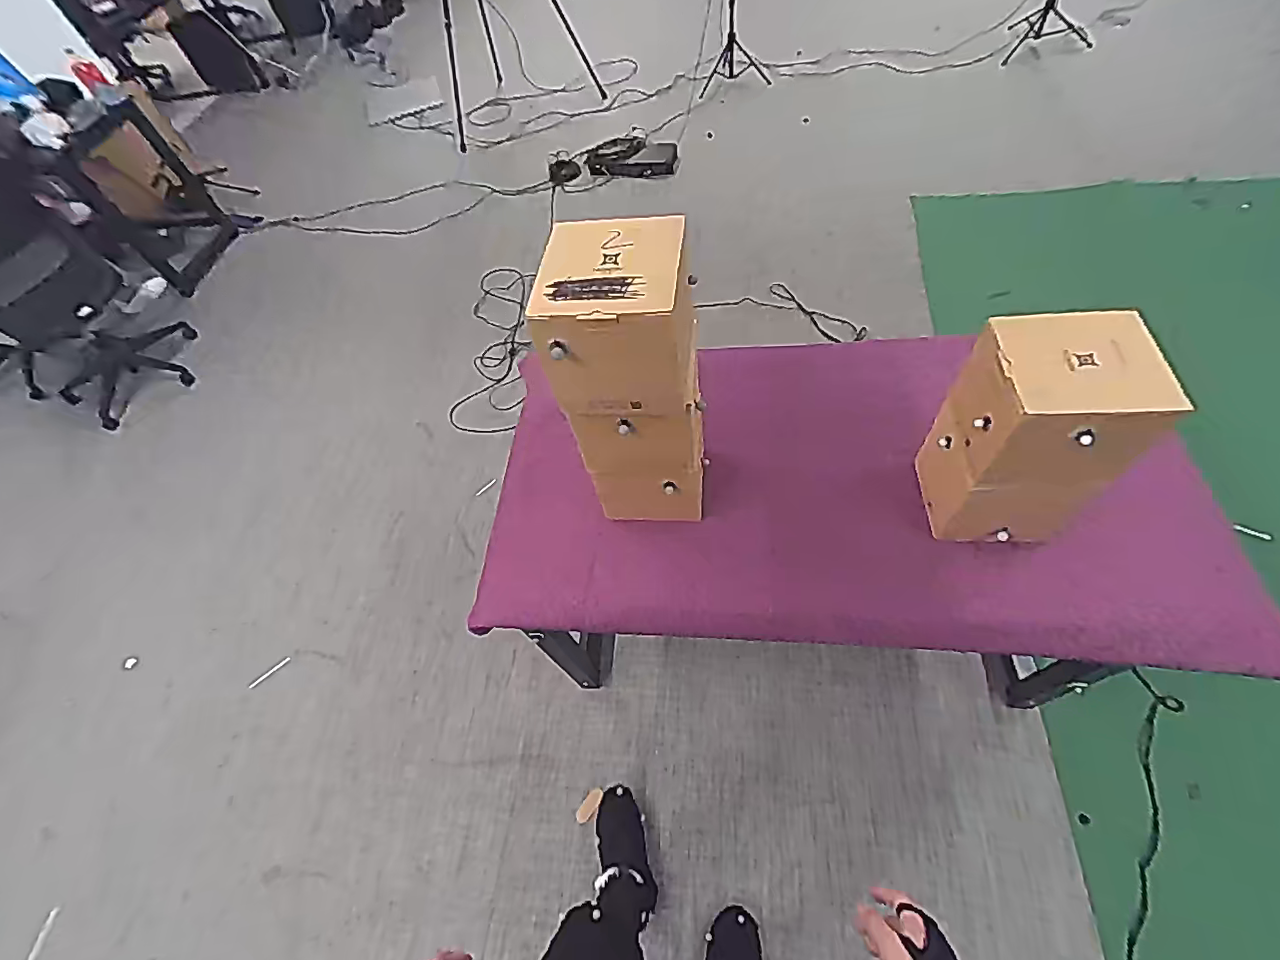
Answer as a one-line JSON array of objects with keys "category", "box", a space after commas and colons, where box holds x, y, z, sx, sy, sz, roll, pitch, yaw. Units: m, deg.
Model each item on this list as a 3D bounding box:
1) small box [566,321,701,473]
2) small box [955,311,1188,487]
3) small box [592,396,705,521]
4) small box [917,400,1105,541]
[{"category": "small box", "box": [0.002, -0.121, 0.831, 0.179, 0.176, 0.168, 0, 58, 10]}, {"category": "small box", "box": [0.545, -0.101, 0.723, 0.179, 0.176, 0.168, 0, 58, 10]}, {"category": "small box", "box": [0.025, -0.037, 0.968, 0.179, 0.176, 0.168, 1, 57, 10]}, {"category": "small box", "box": [0.568, -0.012, 0.858, 0.179, 0.176, 0.168, -1, 57, 9]}]
